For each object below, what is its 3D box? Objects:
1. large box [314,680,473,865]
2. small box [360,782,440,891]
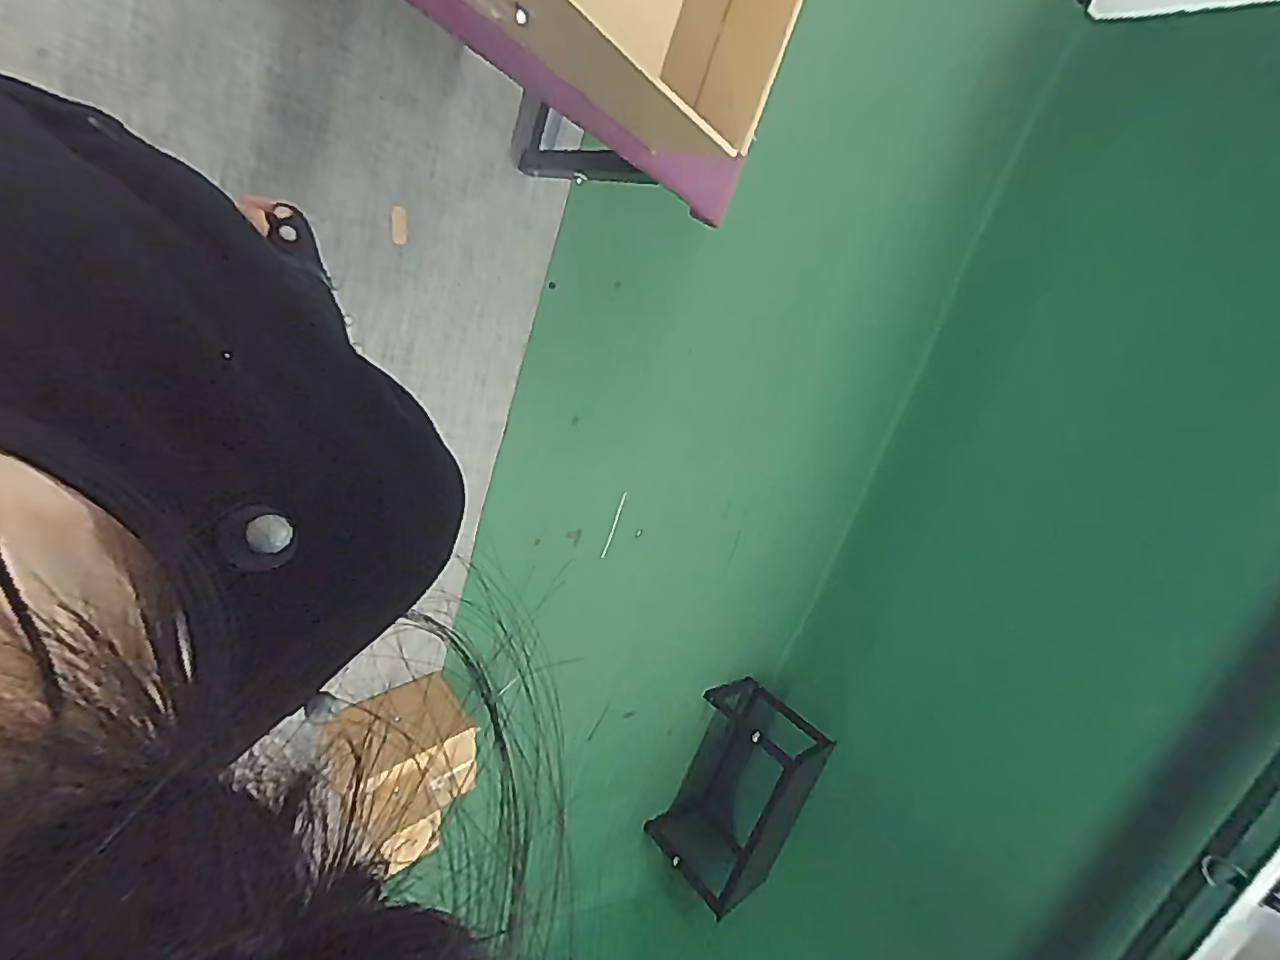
[{"bbox_3d":[-0.825,0.963,1.834,0.408,0.320,0.320,-14,123,-42],"label":"large box"},{"bbox_3d":[-0.721,1.053,1.613,0.179,0.176,0.168,-8,117,-43],"label":"small box"}]
